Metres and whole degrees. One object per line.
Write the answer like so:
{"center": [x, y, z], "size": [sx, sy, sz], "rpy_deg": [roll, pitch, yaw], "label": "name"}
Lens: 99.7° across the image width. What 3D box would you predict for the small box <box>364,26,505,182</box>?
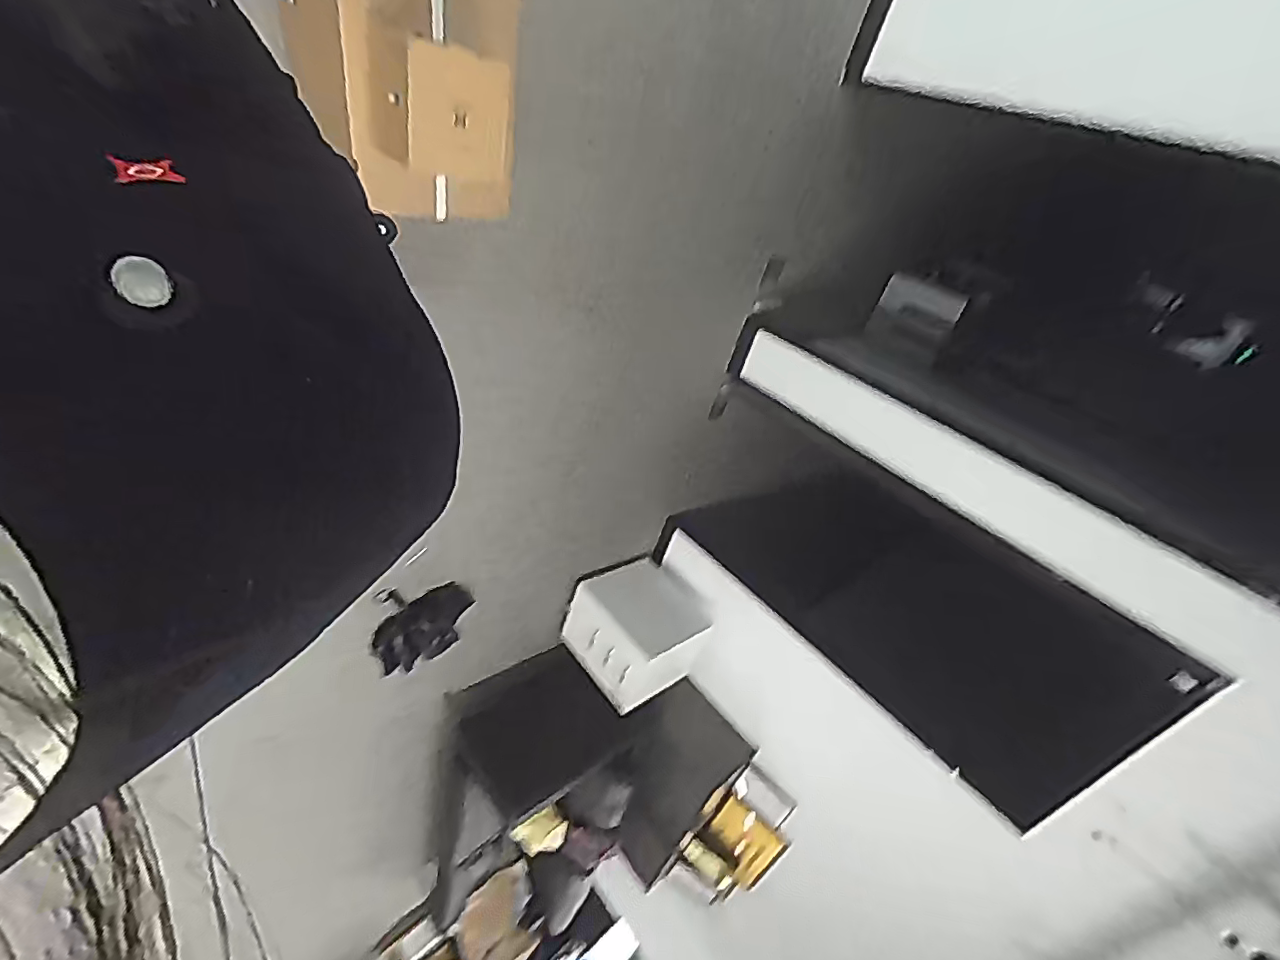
{"center": [-0.344, -0.623, 0.900], "size": [0.168, 0.176, 0.179], "rpy_deg": [-17, 137, -38], "label": "small box"}
